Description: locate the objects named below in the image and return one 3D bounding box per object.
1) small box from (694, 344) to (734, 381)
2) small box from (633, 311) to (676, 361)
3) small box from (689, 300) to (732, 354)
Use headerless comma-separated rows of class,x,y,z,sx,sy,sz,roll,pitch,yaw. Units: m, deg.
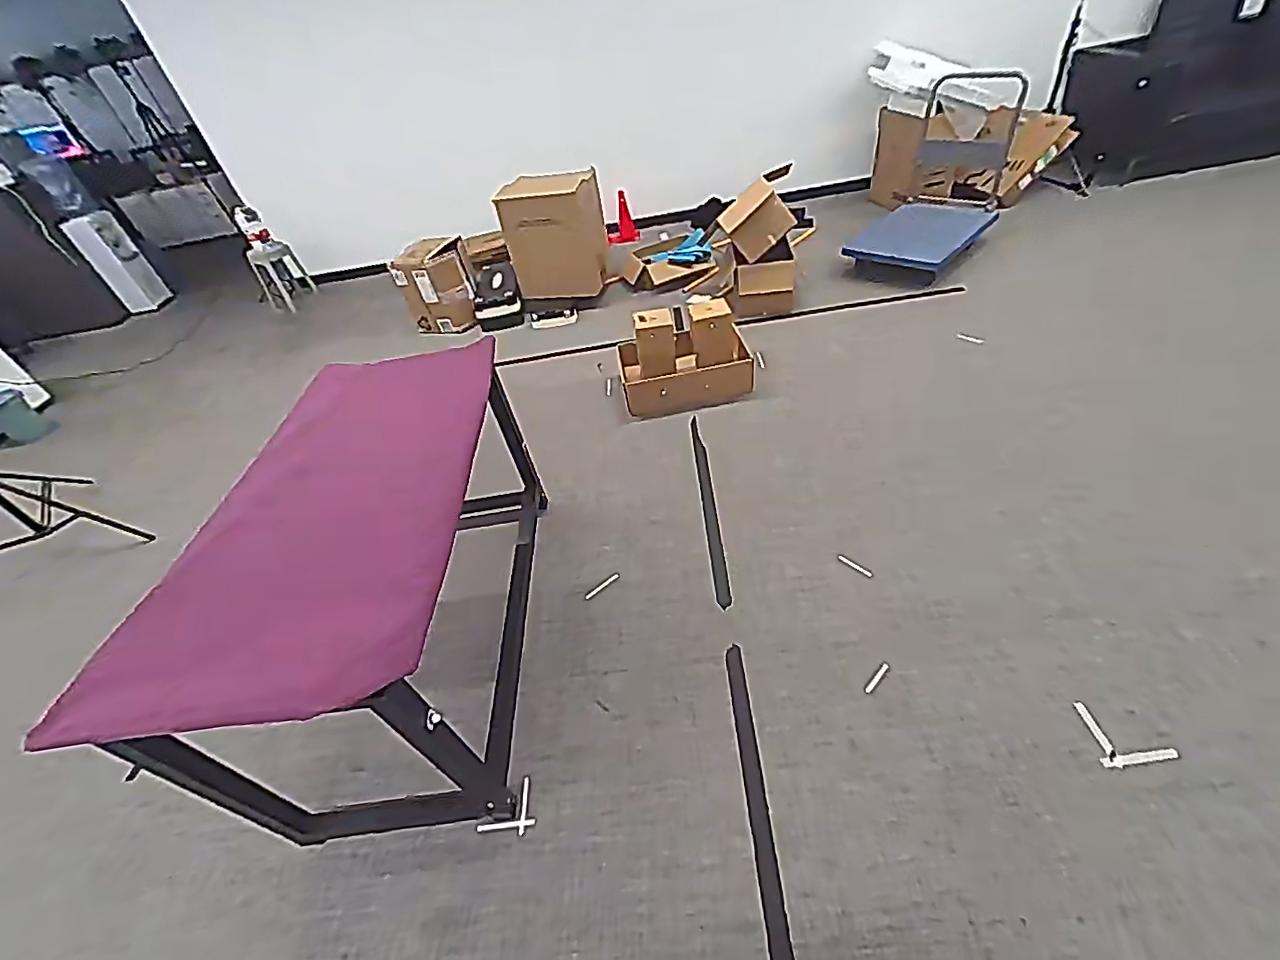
small box,0.364,-0.601,2.654,0.168,0.176,0.179,-10,41,2
small box,0.070,-0.677,2.557,0.179,0.176,0.168,-8,42,1
small box,0.335,-0.718,2.544,0.179,0.176,0.168,-12,42,2
